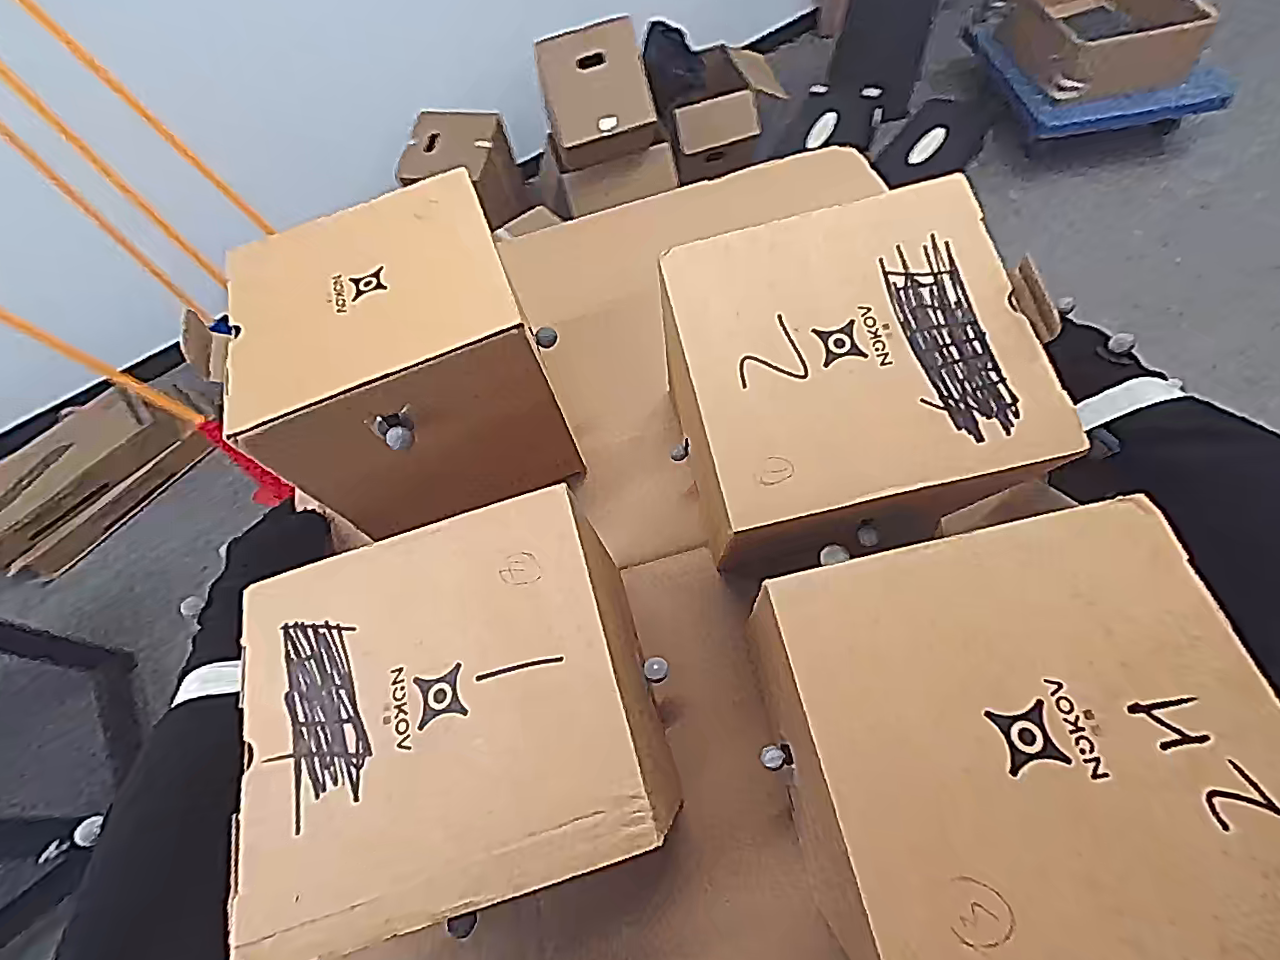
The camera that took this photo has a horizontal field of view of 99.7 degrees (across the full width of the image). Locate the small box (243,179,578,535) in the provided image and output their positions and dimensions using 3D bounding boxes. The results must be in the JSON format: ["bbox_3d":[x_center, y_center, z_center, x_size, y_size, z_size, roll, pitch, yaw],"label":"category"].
[{"bbox_3d":[-0.157,-0.082,0.415,0.179,0.176,0.168,-22,61,-2],"label":"small box"}]
